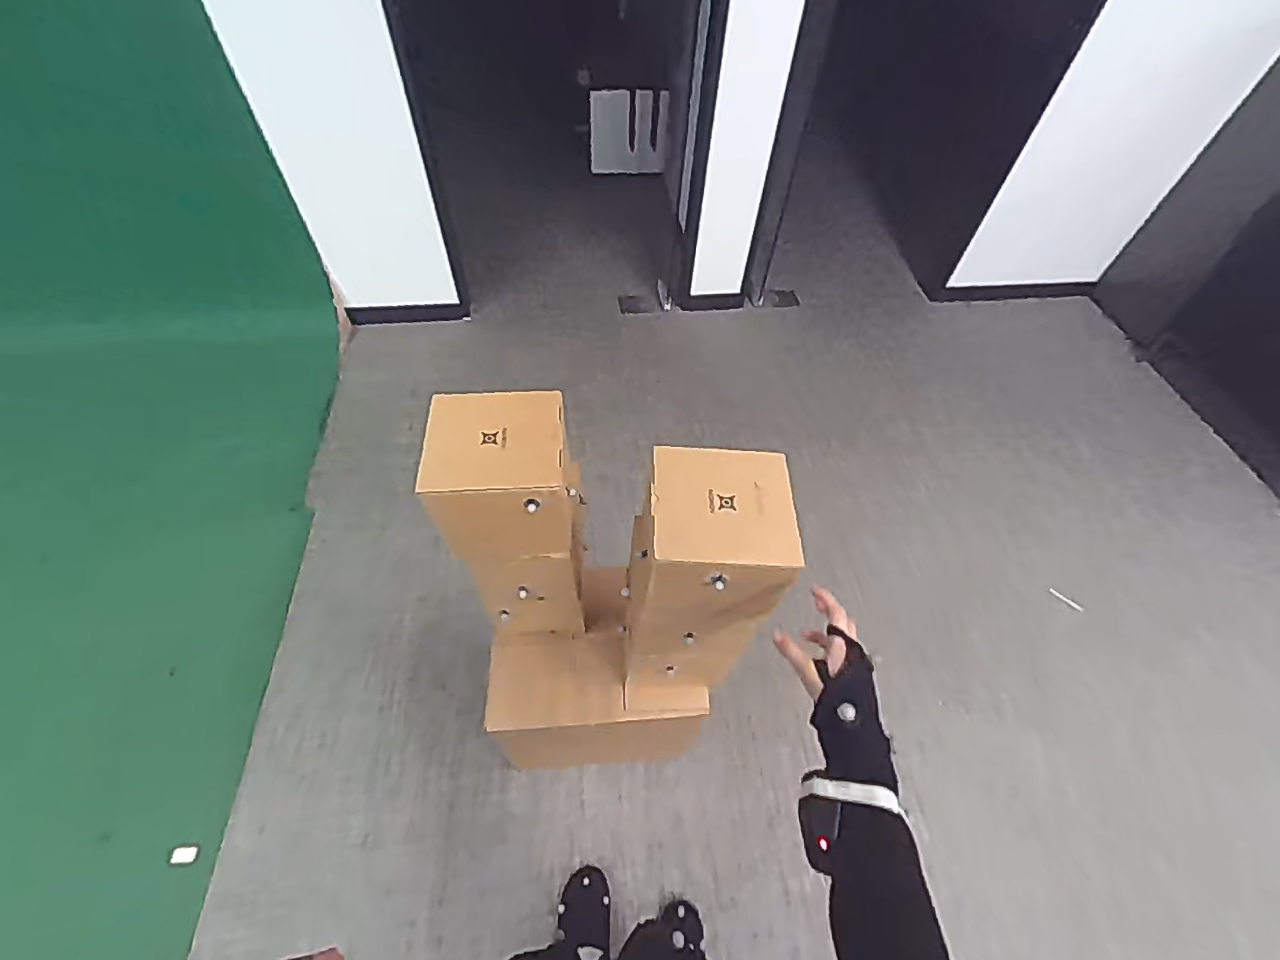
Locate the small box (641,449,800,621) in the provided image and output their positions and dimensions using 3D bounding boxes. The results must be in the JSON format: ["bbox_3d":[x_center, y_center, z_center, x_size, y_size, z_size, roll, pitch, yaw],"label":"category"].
[{"bbox_3d":[0.093,0.078,0.718,0.179,0.176,0.168,4,54,-3],"label":"small box"}]

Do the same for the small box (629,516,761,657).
[{"bbox_3d":[0.075,0.171,0.850,0.179,0.176,0.168,0,54,-3],"label":"small box"}]

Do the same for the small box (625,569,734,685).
[{"bbox_3d":[0.063,0.269,0.981,0.179,0.176,0.168,-1,56,-3],"label":"small box"}]
